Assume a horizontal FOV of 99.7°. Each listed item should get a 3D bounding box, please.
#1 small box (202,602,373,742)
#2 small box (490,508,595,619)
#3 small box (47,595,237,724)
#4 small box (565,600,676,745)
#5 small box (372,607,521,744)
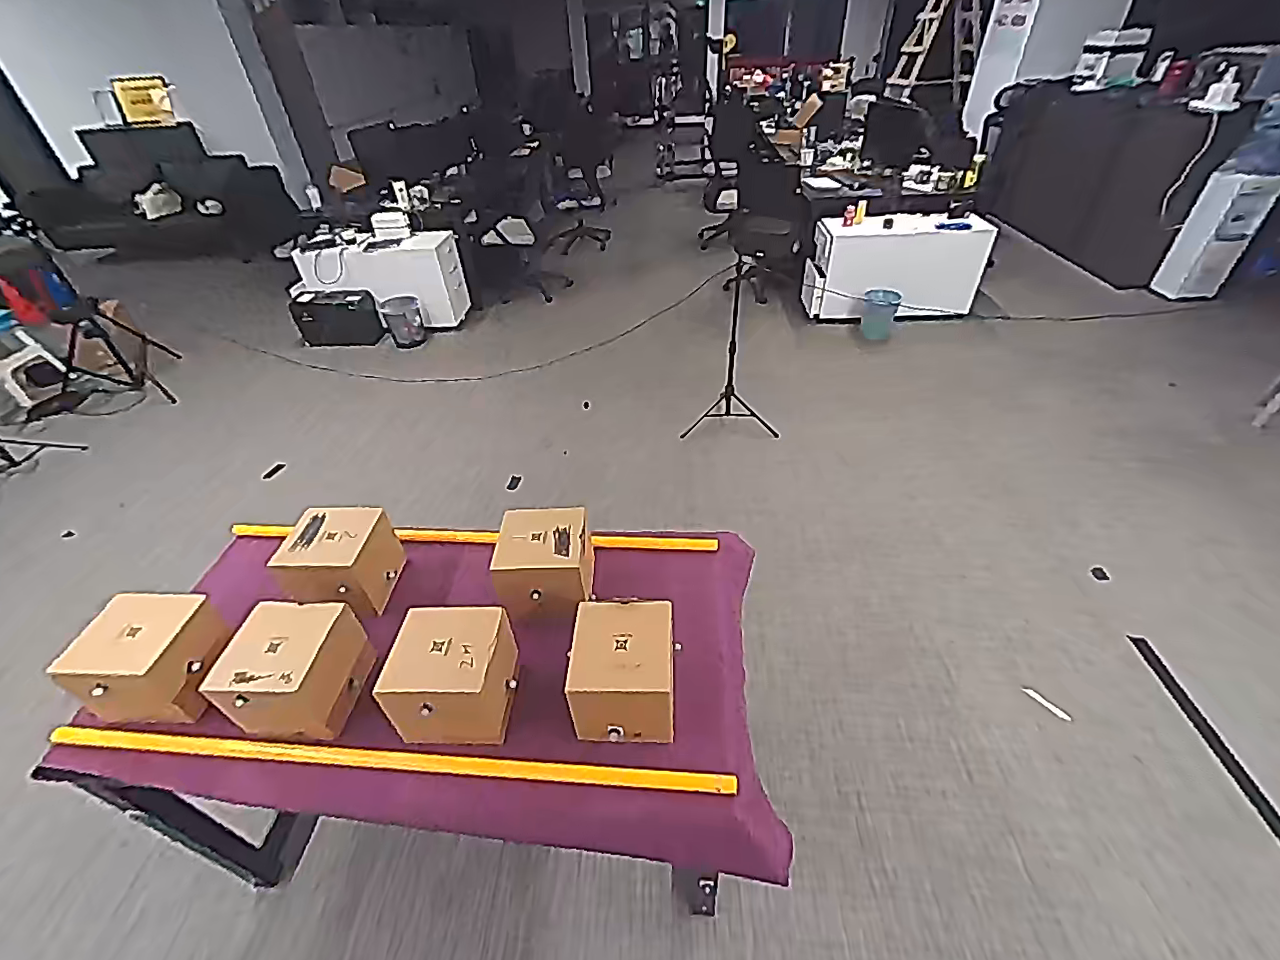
[{"bbox_3d":[-0.608,0.340,0.966,0.168,0.176,0.179,-1,39,5],"label":"small box"},{"bbox_3d":[-0.193,0.176,1.130,0.179,0.176,0.168,-2,41,3],"label":"small box"},{"bbox_3d":[-0.886,0.332,0.997,0.179,0.176,0.168,0,39,4],"label":"small box"},{"bbox_3d":[-0.024,0.329,0.932,0.168,0.176,0.179,-2,38,5],"label":"small box"},{"bbox_3d":[-0.322,0.341,0.942,0.179,0.176,0.168,-1,39,4],"label":"small box"}]
